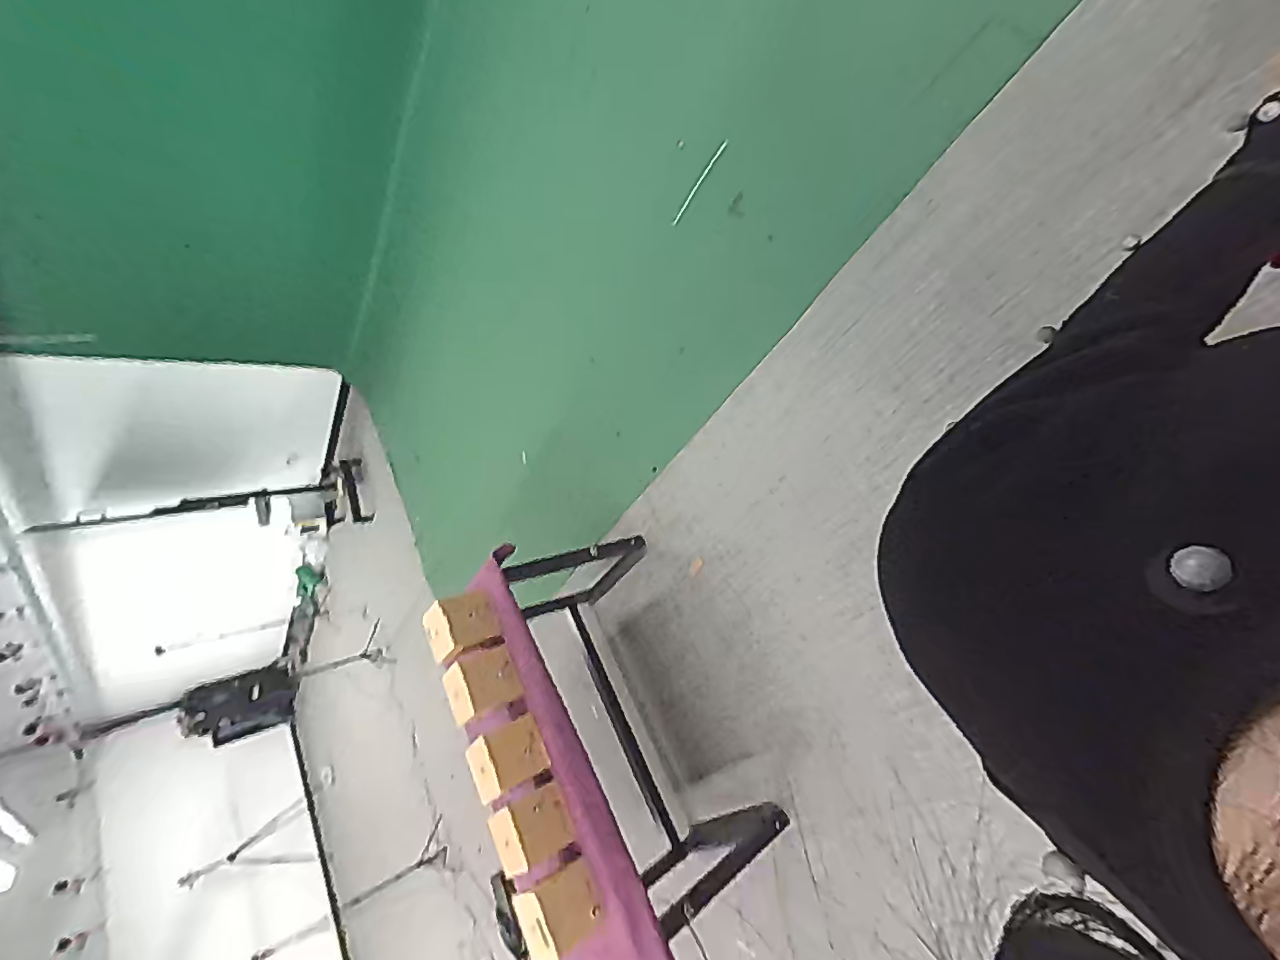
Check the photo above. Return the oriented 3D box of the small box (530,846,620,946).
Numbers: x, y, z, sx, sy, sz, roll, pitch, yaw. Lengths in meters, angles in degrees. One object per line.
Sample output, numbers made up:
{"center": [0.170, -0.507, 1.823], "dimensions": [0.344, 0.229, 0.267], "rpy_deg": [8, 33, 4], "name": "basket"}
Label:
{"center": [-0.178, 1.169, 1.526], "dimensions": [0.179, 0.176, 0.168], "rpy_deg": [-50, 60, 41], "name": "small box"}
